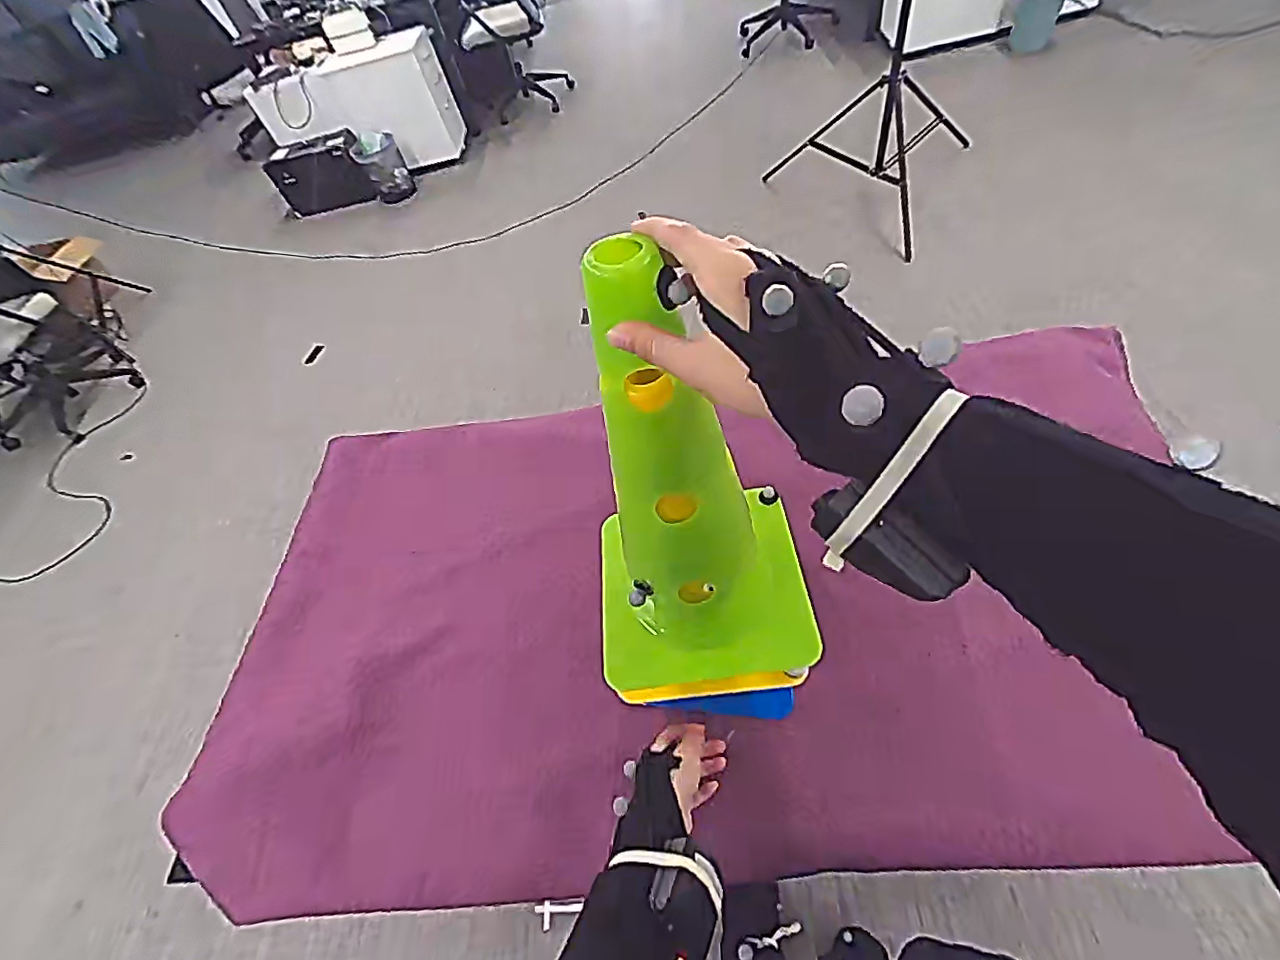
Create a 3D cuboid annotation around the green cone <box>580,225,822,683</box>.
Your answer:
[{"bbox_3d":[0.023,-0.011,0.407,0.200,0.368,0.202,-11,51,7],"label":"green cone"}]
